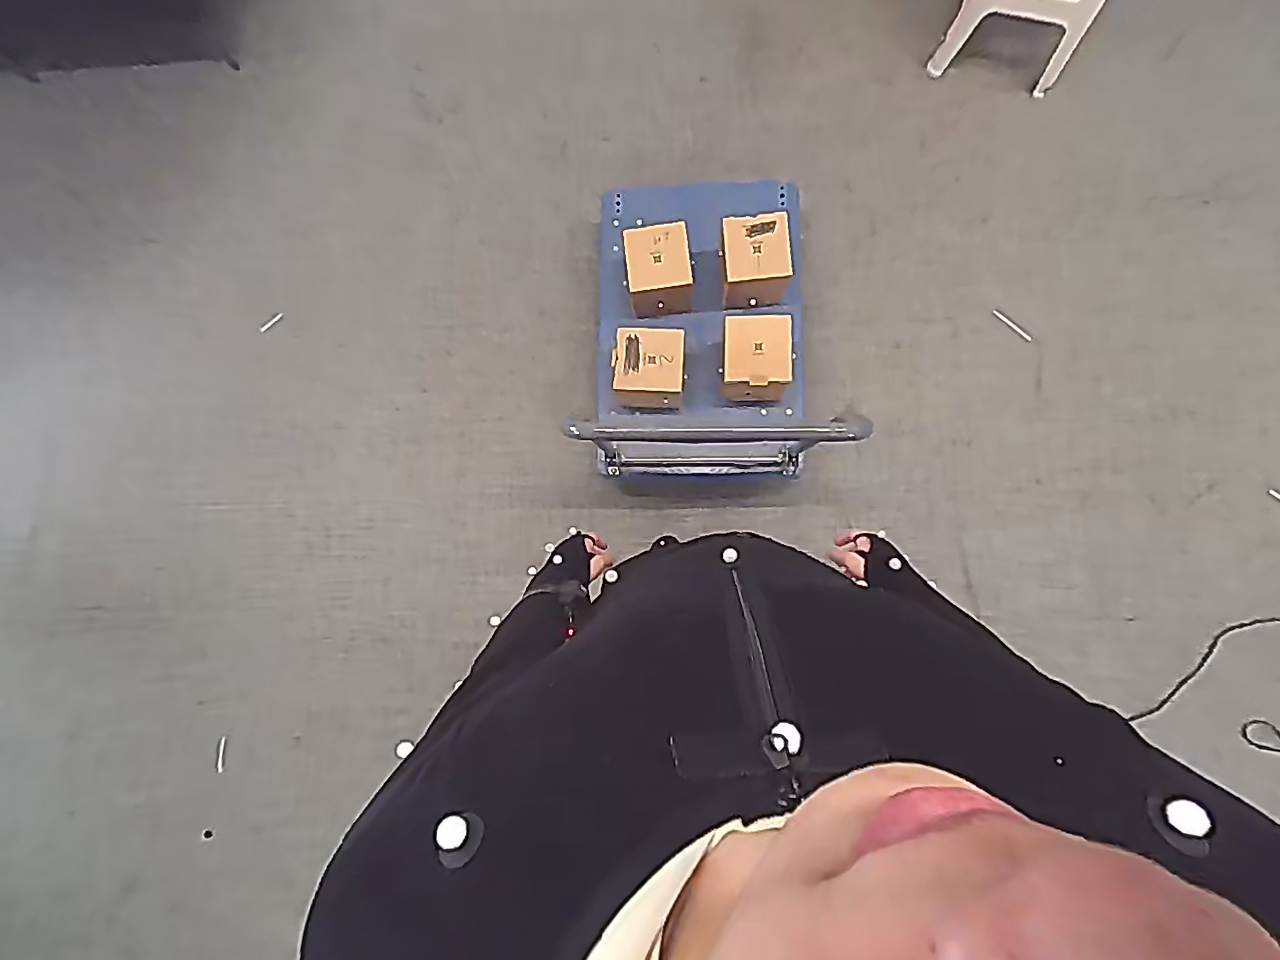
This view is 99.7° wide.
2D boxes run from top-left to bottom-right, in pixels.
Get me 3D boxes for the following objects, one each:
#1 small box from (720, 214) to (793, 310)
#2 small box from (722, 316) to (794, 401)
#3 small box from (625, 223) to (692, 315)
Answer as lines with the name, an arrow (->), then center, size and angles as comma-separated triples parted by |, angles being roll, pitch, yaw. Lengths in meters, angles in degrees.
small box -> 0.308, -0.582, 1.457 | 0.168, 0.176, 0.179 | -4, 84, 5
small box -> 0.306, -0.315, 1.426 | 0.168, 0.176, 0.179 | 0, 83, 5
small box -> 0.054, -0.564, 1.476 | 0.168, 0.176, 0.179 | -7, 83, 3
